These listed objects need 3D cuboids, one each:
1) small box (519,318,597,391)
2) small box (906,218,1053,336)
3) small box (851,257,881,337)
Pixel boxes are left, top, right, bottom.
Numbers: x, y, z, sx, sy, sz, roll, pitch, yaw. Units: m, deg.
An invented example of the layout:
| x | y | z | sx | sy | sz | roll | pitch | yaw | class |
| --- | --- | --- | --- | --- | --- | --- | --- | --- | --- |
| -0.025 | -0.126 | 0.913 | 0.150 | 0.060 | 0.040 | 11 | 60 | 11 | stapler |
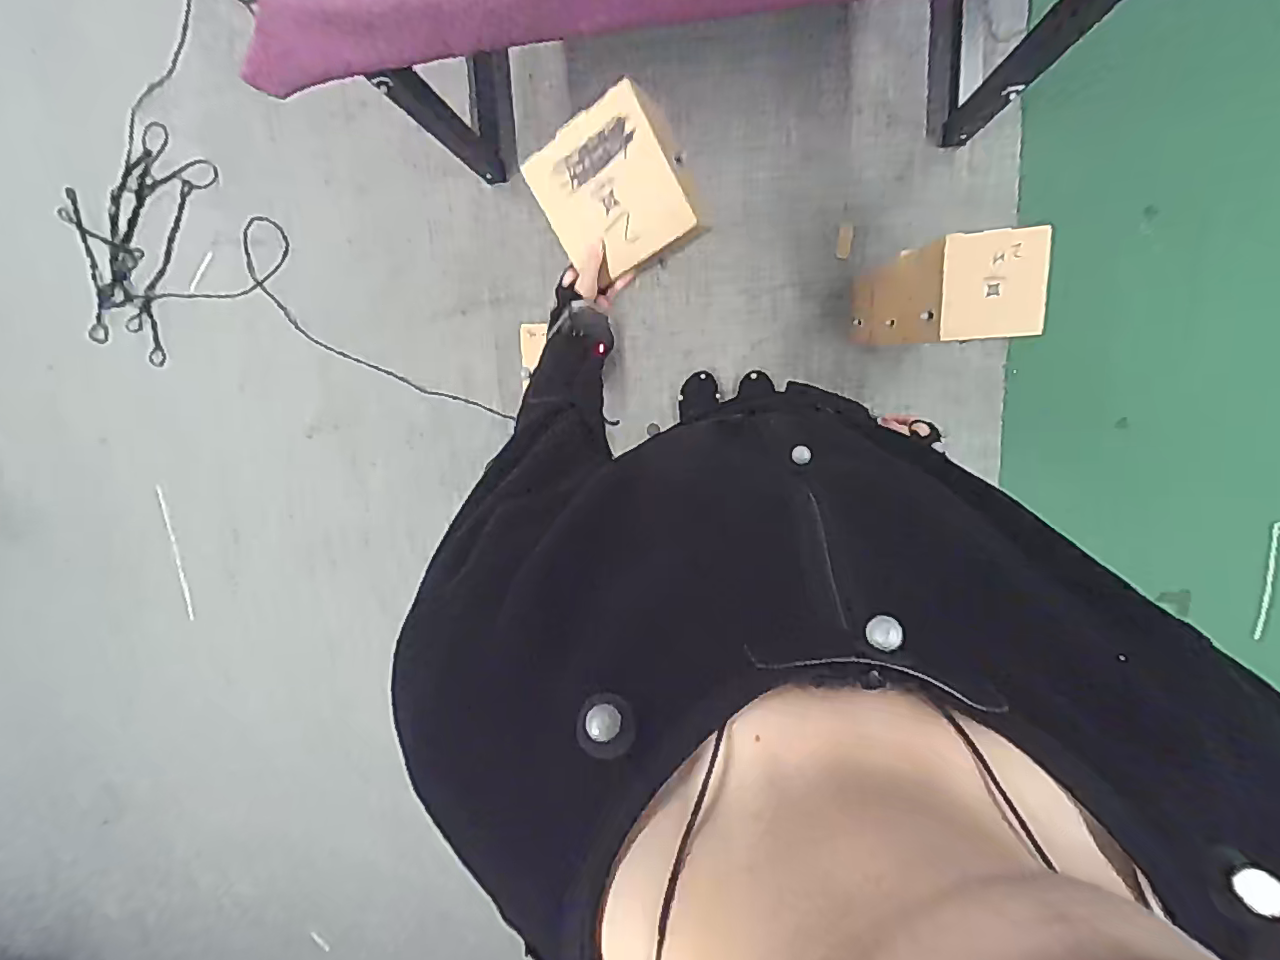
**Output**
| x | y | z | sx | sy | sz | roll | pitch | yaw | class |
| --- | --- | --- | --- | --- | --- | --- | --- | --- | --- |
| -0.208 | -0.327 | 1.414 | 0.168 | 0.176 | 0.179 | 2 | 102 | 6 | small box |
| 0.595 | -0.354 | 0.973 | 0.168 | 0.176 | 0.179 | -2 | 103 | 7 | small box |
| 0.613 | -0.432 | 1.291 | 0.179 | 0.176 | 0.168 | 0 | 102 | 7 | small box |
